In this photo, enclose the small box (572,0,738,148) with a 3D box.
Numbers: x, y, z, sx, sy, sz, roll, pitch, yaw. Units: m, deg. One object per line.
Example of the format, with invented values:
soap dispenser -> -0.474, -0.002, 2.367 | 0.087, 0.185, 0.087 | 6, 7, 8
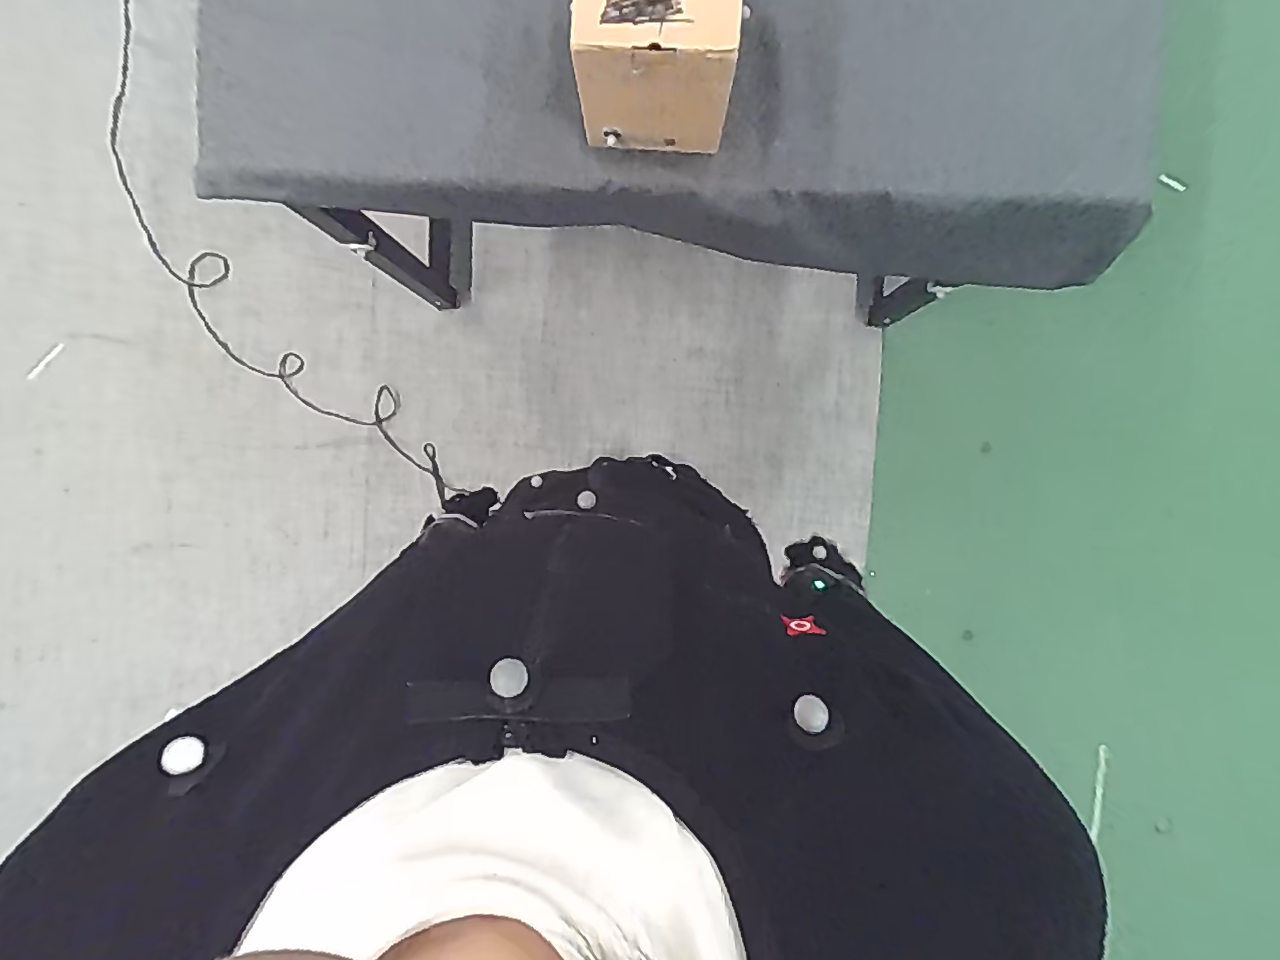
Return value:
small box -> 0.022, -0.512, 0.615 | 0.168, 0.176, 0.179 | 4, 90, 1
